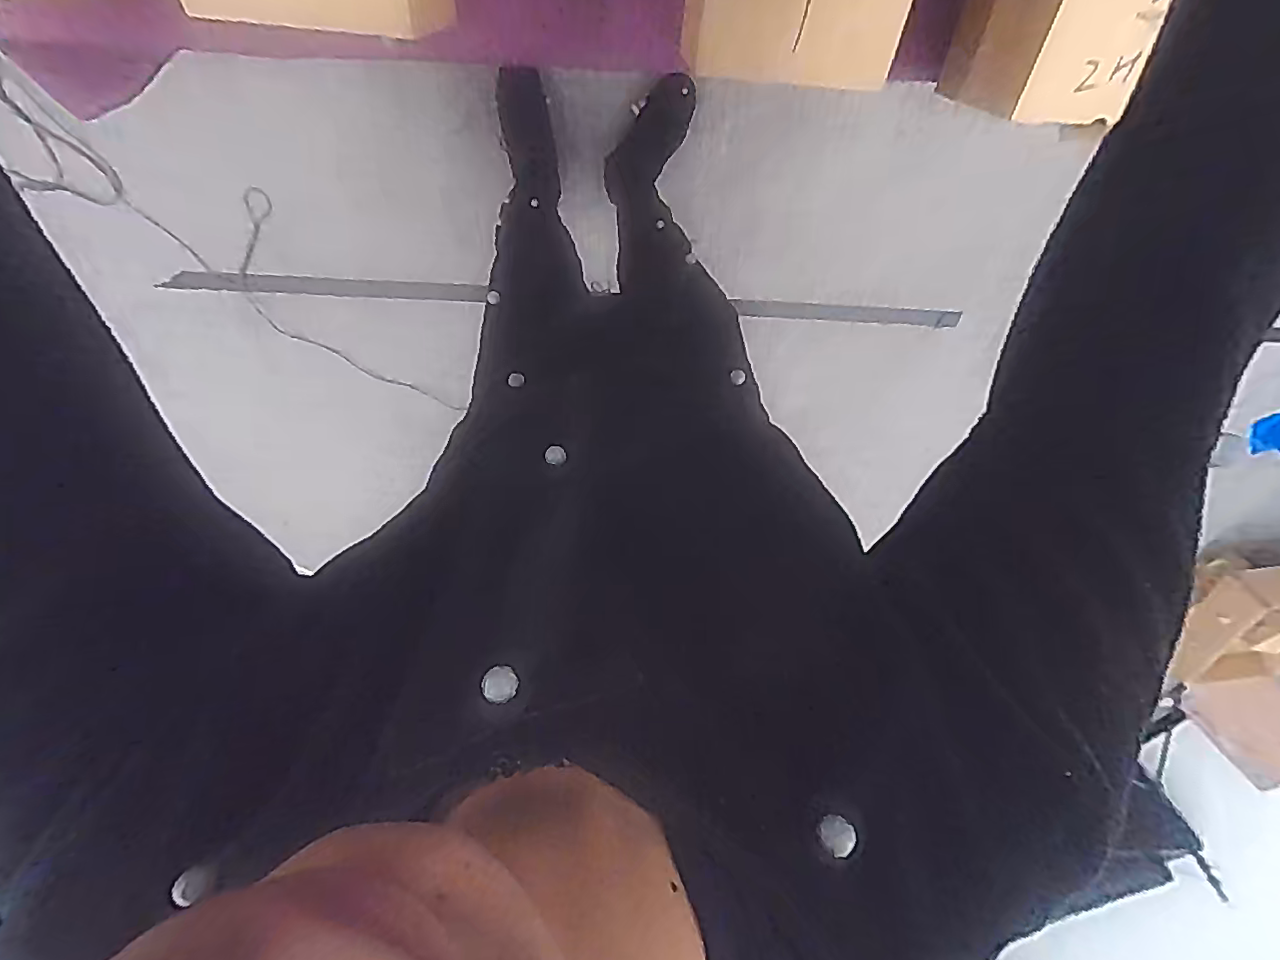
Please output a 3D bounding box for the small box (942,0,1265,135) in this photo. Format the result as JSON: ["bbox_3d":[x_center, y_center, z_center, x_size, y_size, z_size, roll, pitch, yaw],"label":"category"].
[{"bbox_3d":[0.408,-0.431,0.484,0.168,0.176,0.179,2,133,-2],"label":"small box"}]

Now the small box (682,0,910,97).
[{"bbox_3d":[0.130,-0.451,0.460,0.168,0.176,0.179,3,133,-4],"label":"small box"}]
